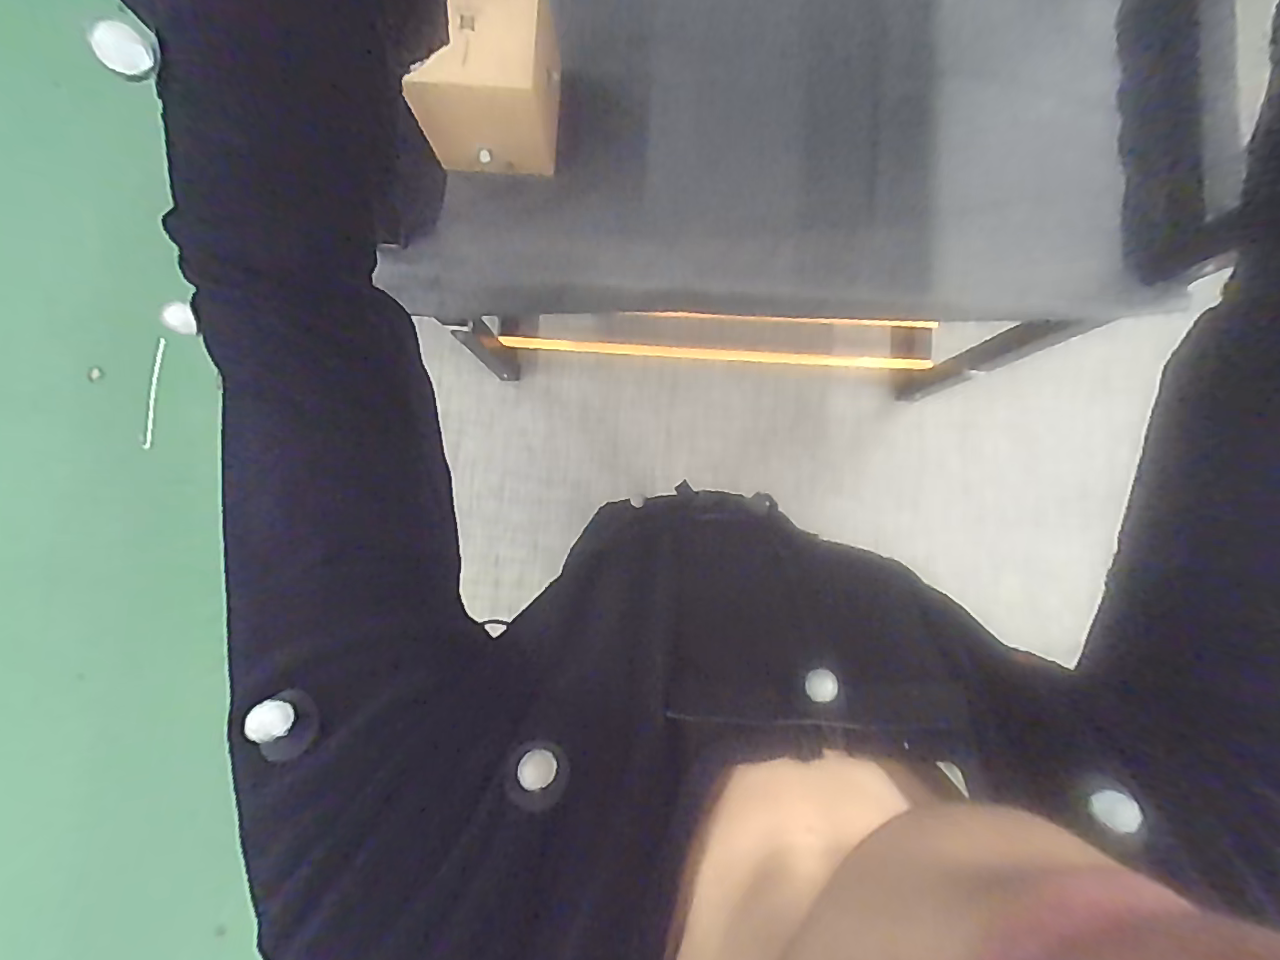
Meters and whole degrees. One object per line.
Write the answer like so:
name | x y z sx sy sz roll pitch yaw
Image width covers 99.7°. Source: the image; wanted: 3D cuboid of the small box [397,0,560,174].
small box | -0.204 -0.552 0.729 0.168 0.176 0.179 3 86 0
